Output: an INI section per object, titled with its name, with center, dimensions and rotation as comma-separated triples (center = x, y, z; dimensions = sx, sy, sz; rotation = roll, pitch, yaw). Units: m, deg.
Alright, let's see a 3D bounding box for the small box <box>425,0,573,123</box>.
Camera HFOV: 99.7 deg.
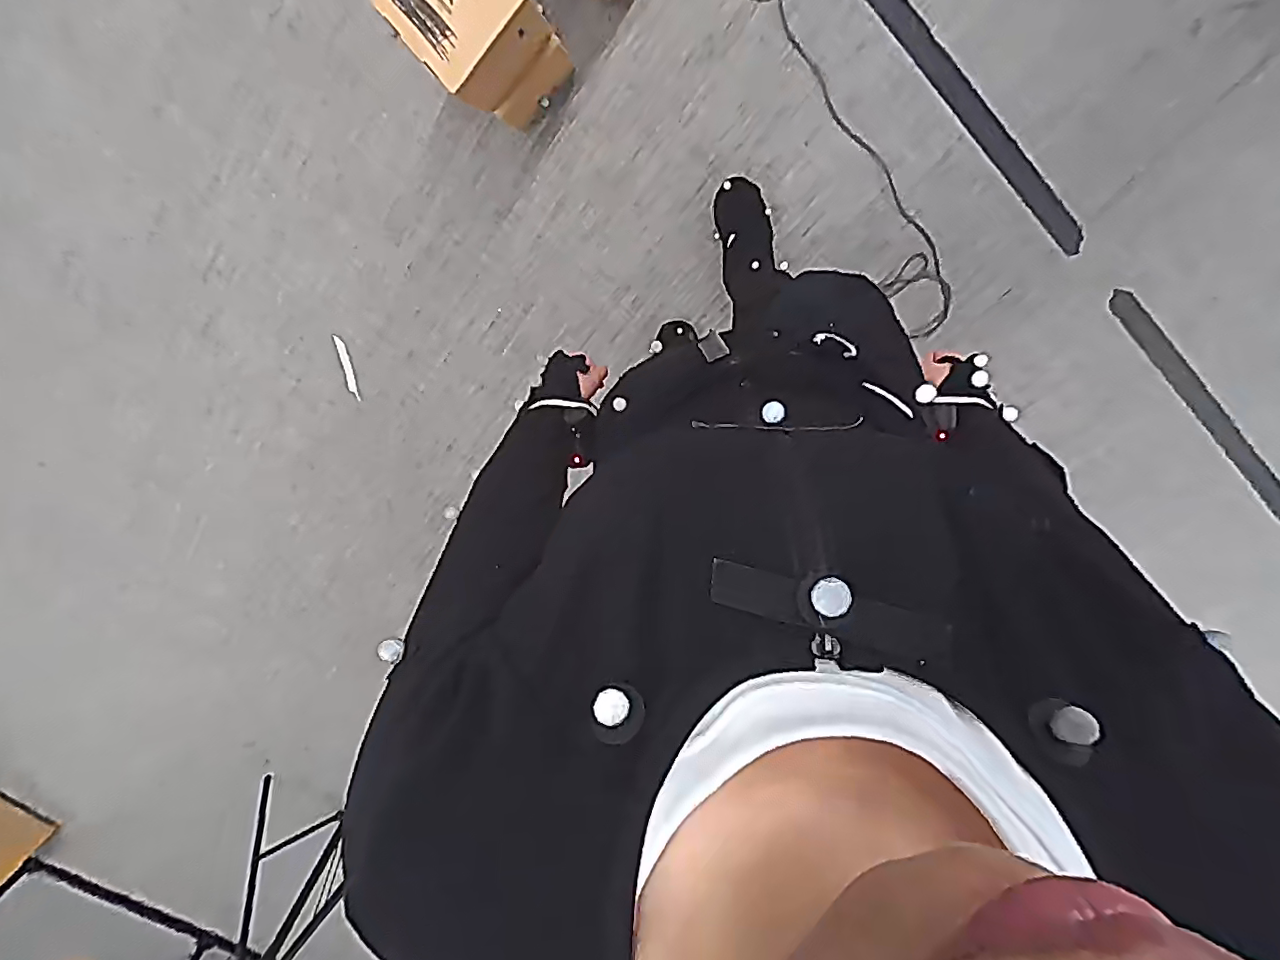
[small box]
center = -0.246, -0.794, 0.986
dimensions = 0.168, 0.176, 0.179
rotation = -39, 109, 20
